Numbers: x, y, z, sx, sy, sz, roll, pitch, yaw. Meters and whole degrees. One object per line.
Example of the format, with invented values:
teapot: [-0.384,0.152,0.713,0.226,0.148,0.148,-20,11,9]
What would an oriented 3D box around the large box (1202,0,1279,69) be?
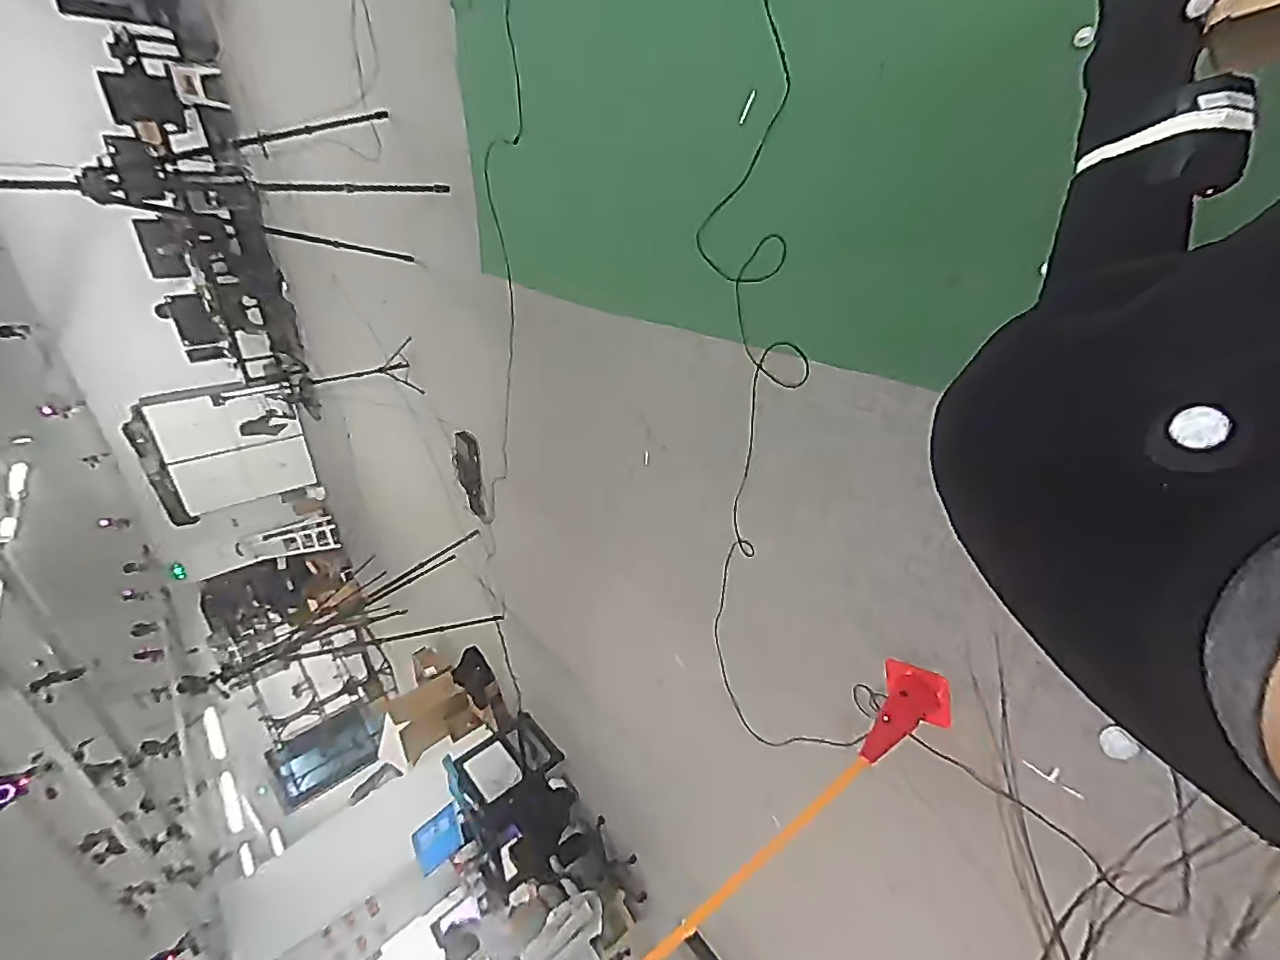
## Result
large box: [0.577,-0.456,0.246,0.408,0.320,0.320,12,119,45]
